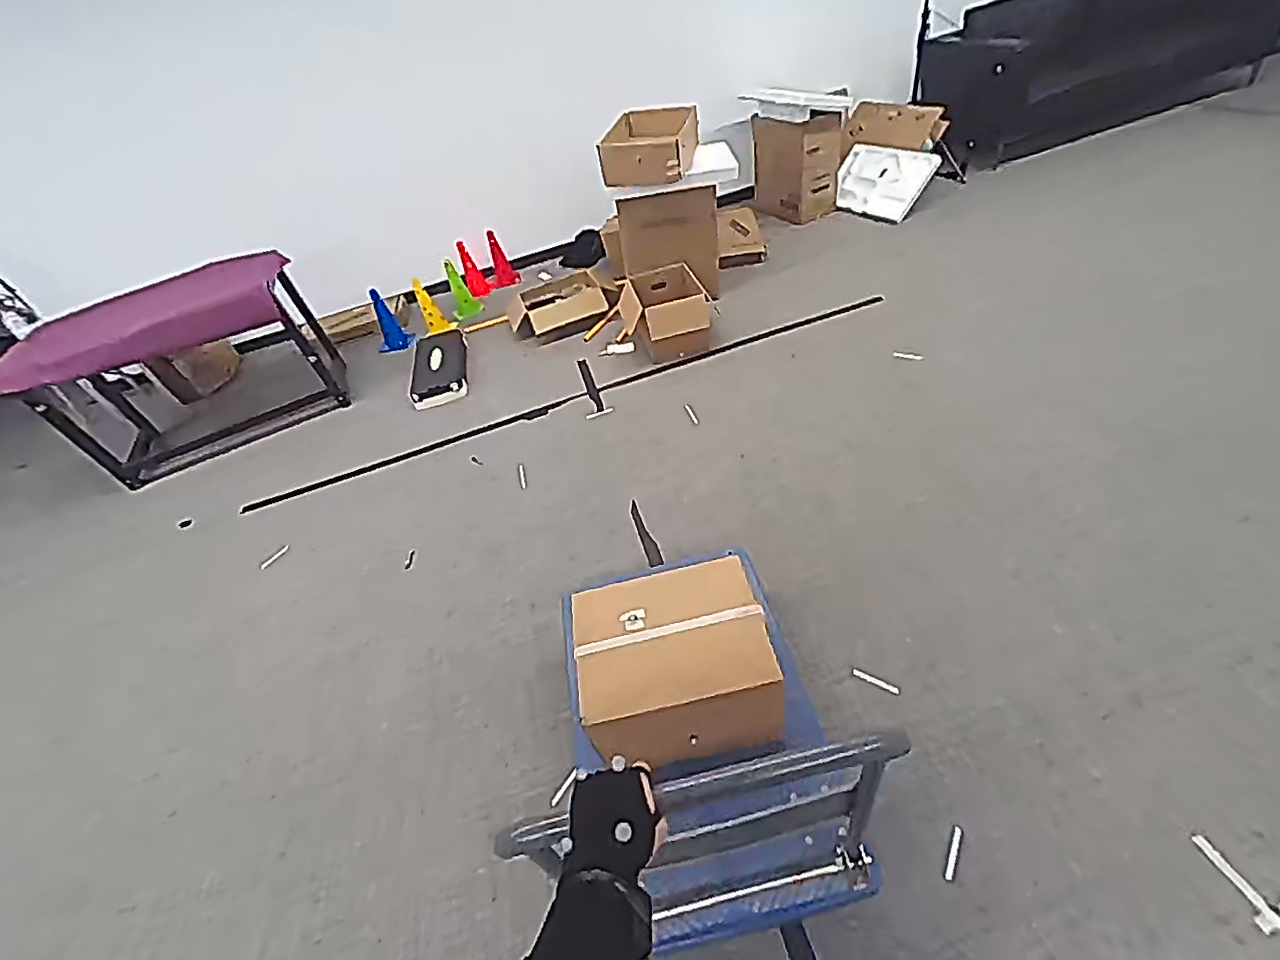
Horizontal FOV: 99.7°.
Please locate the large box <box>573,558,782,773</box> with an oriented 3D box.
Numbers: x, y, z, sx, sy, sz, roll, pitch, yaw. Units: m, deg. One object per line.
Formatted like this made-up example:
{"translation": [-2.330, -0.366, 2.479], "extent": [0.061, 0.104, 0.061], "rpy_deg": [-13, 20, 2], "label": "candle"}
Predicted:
{"translation": [0.088, 0.437, 1.267], "extent": [0.408, 0.320, 0.320], "rpy_deg": [-14, 42, 2], "label": "large box"}
